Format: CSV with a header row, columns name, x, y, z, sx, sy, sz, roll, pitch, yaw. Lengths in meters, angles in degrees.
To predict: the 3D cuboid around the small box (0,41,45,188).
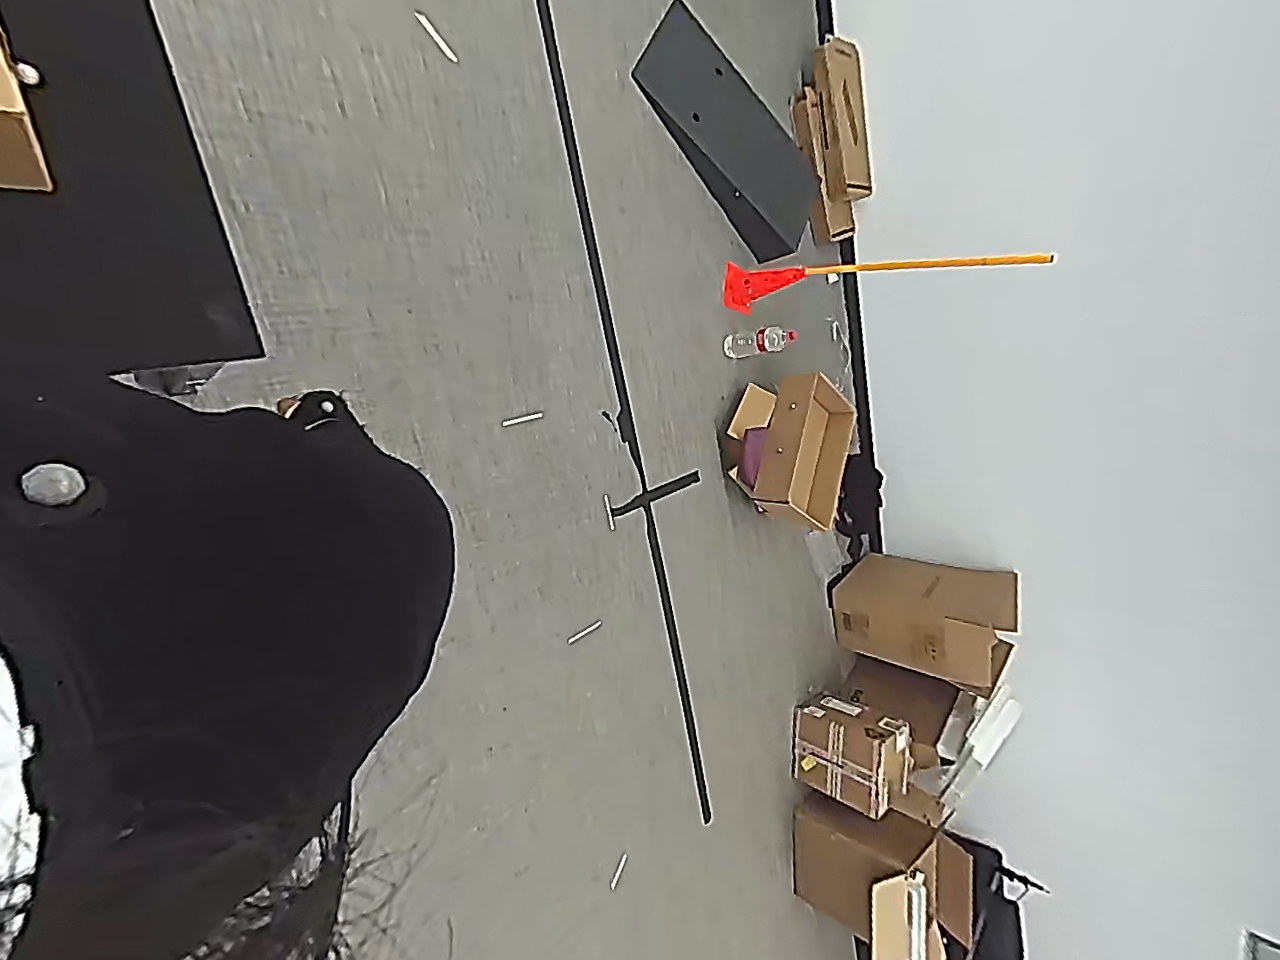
name,x,y,z,sx,sy,sz,roll,pitch,yaw
small box,-0.607,-0.339,0.406,0.179,0.176,0.168,-20,106,-42
